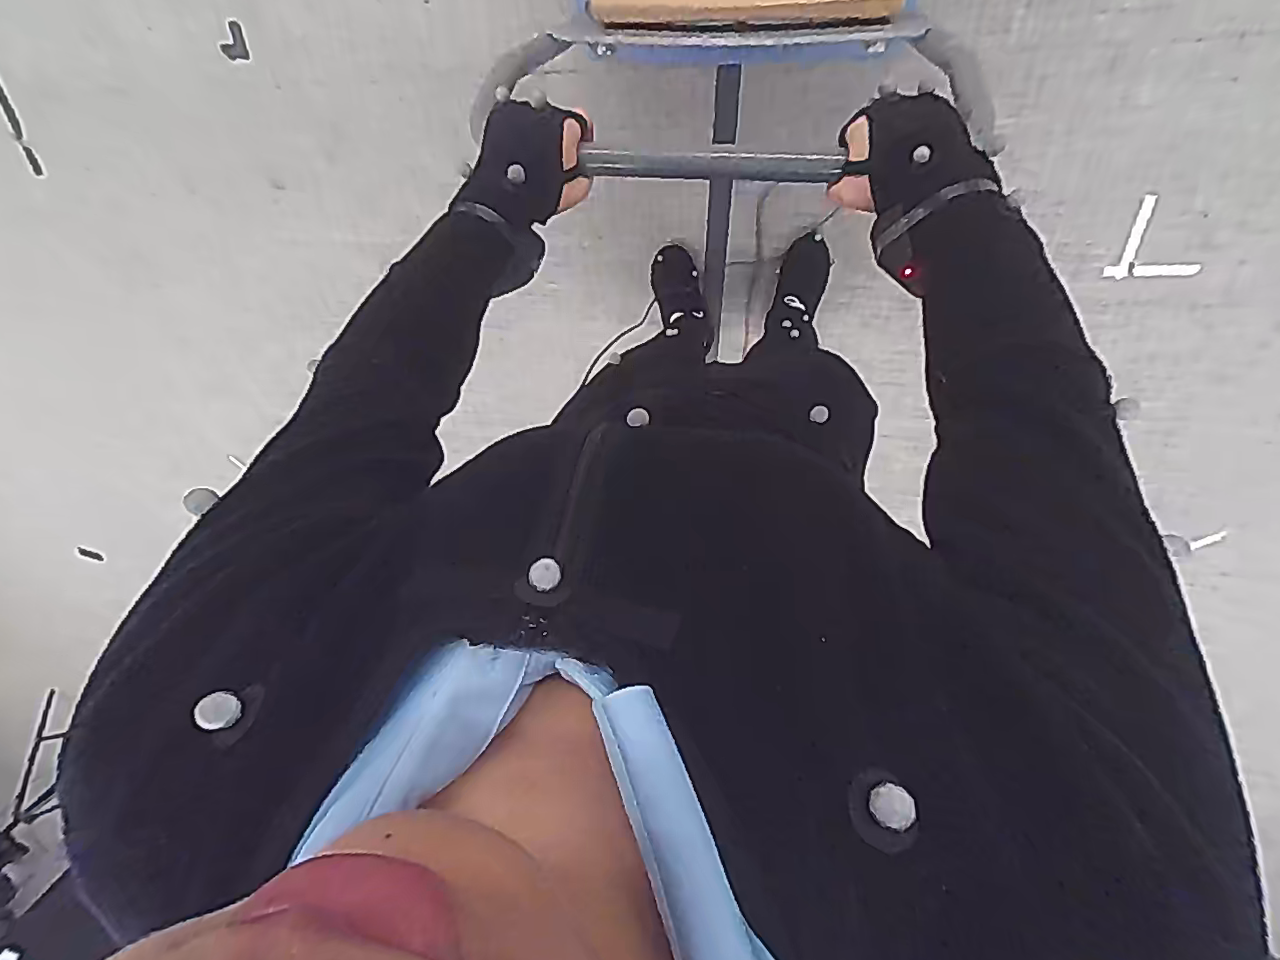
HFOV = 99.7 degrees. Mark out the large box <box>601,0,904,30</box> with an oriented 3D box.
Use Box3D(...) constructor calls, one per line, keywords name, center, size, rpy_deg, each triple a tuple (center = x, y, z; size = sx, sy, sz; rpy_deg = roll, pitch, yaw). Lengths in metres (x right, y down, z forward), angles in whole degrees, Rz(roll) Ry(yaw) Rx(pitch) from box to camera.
Box3D(name="large box", center=(0.157, -0.828, 0.735), size=(0.408, 0.320, 0.320), rpy_deg=(5, 133, 8))
